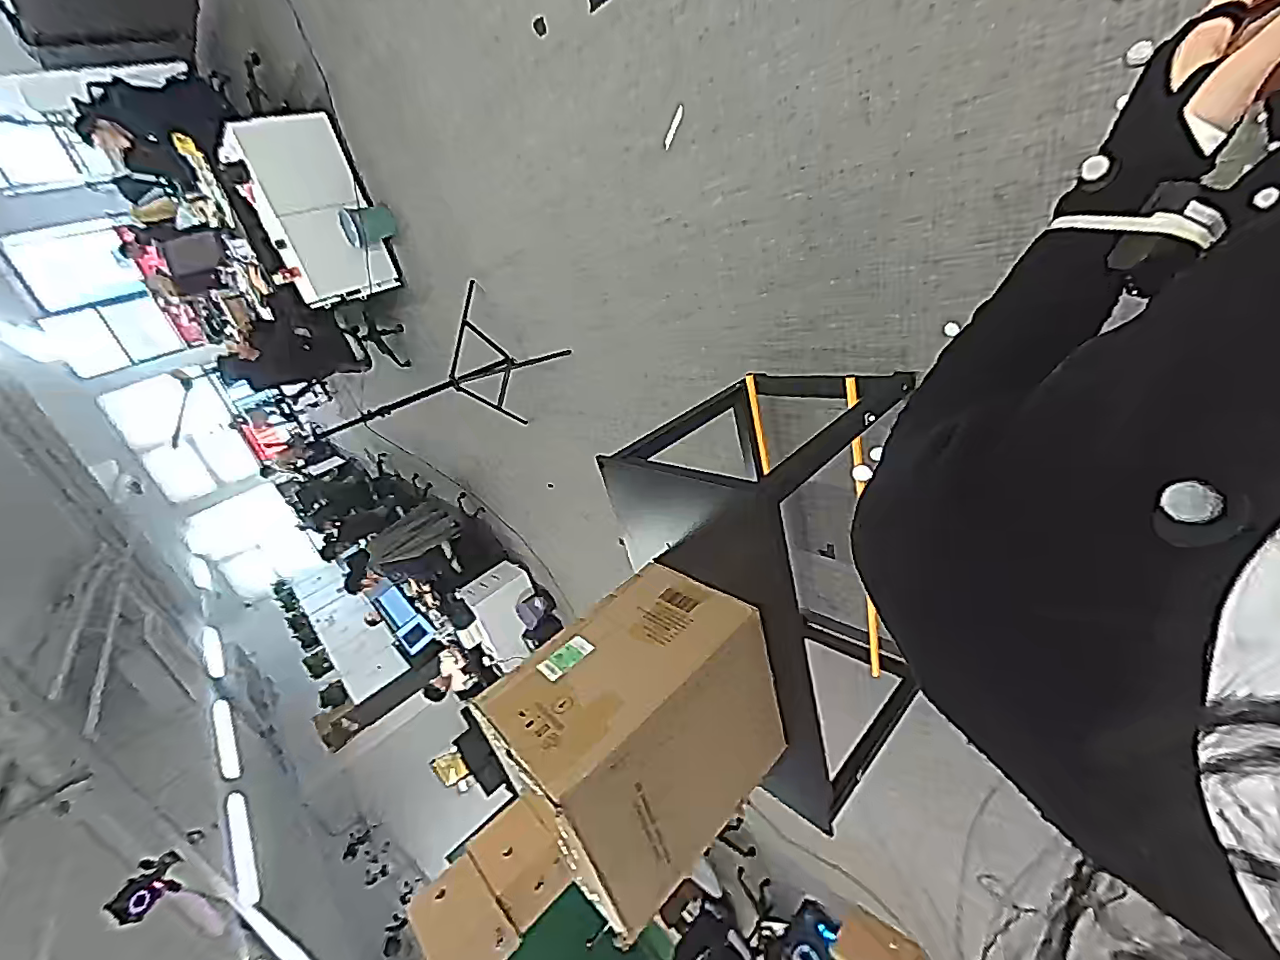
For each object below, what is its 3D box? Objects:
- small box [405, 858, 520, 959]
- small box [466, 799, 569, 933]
[{"bbox_3d":[-0.404,1.020,1.244,0.179,0.176,0.168,17,132,47],"label":"small box"},{"bbox_3d":[-0.295,0.945,1.341,0.179,0.176,0.168,15,129,48],"label":"small box"}]
